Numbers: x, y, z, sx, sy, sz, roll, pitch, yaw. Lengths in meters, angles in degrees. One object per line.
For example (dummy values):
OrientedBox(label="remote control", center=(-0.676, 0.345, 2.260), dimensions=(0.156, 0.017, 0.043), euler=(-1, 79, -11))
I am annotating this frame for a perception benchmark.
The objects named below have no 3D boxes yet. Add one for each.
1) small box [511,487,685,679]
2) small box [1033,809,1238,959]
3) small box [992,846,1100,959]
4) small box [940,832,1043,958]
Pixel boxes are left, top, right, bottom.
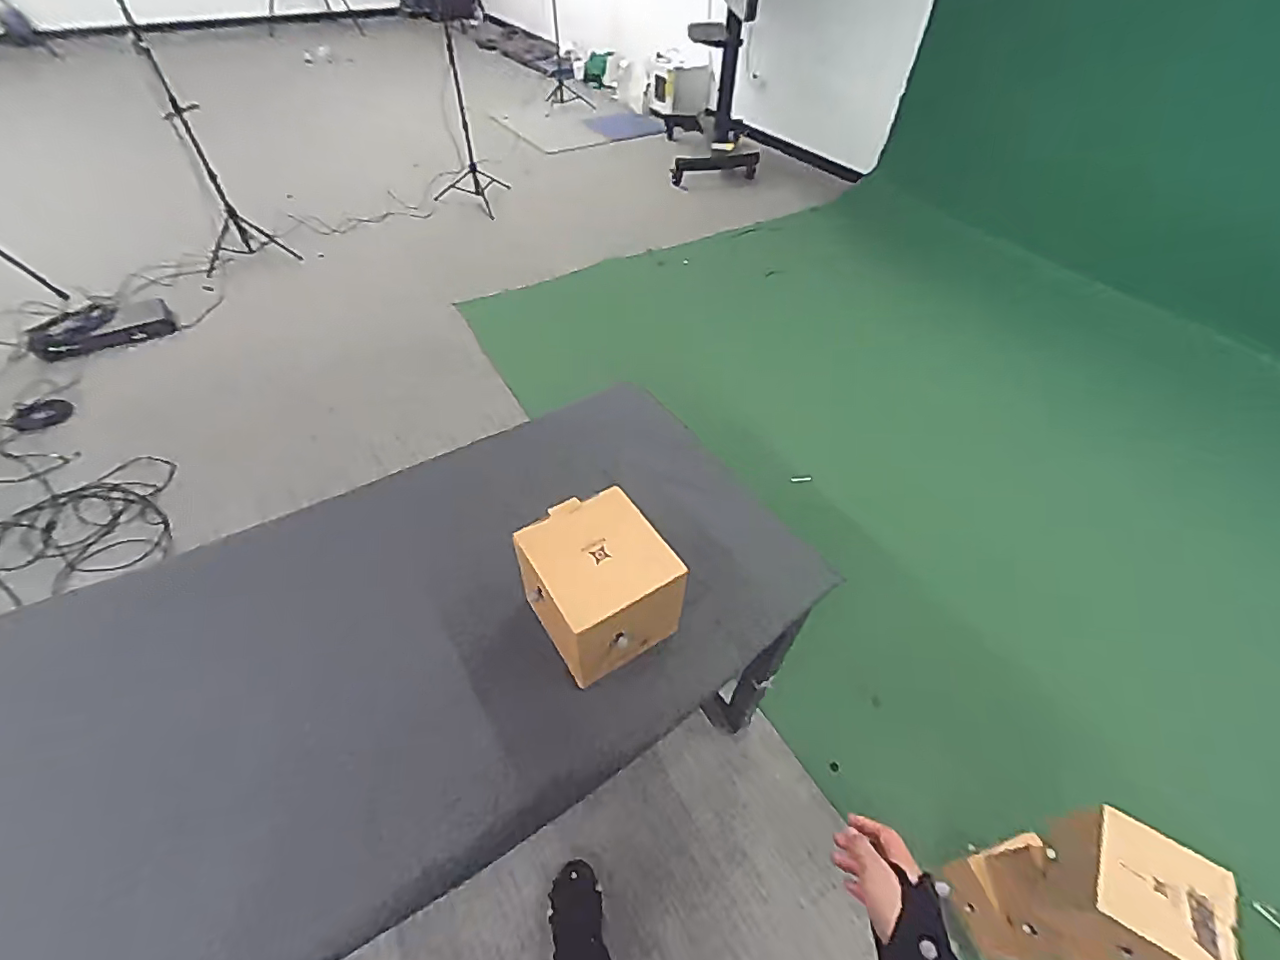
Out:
OrientedBox(label="small box", center=(-0.056, 0.148, 0.746), dimensions=(0.168, 0.176, 0.179), euler=(-26, 53, -23))
OrientedBox(label="small box", center=(0.780, 0.668, 0.863), dimensions=(0.179, 0.176, 0.168), euler=(27, 54, 21))
OrientedBox(label="small box", center=(0.779, 0.781, 0.983), dimensions=(0.179, 0.176, 0.168), euler=(4, 50, 1))
OrientedBox(label="small box", center=(0.762, 0.864, 1.124), dimensions=(0.179, 0.176, 0.168), euler=(-12, 51, -13))
